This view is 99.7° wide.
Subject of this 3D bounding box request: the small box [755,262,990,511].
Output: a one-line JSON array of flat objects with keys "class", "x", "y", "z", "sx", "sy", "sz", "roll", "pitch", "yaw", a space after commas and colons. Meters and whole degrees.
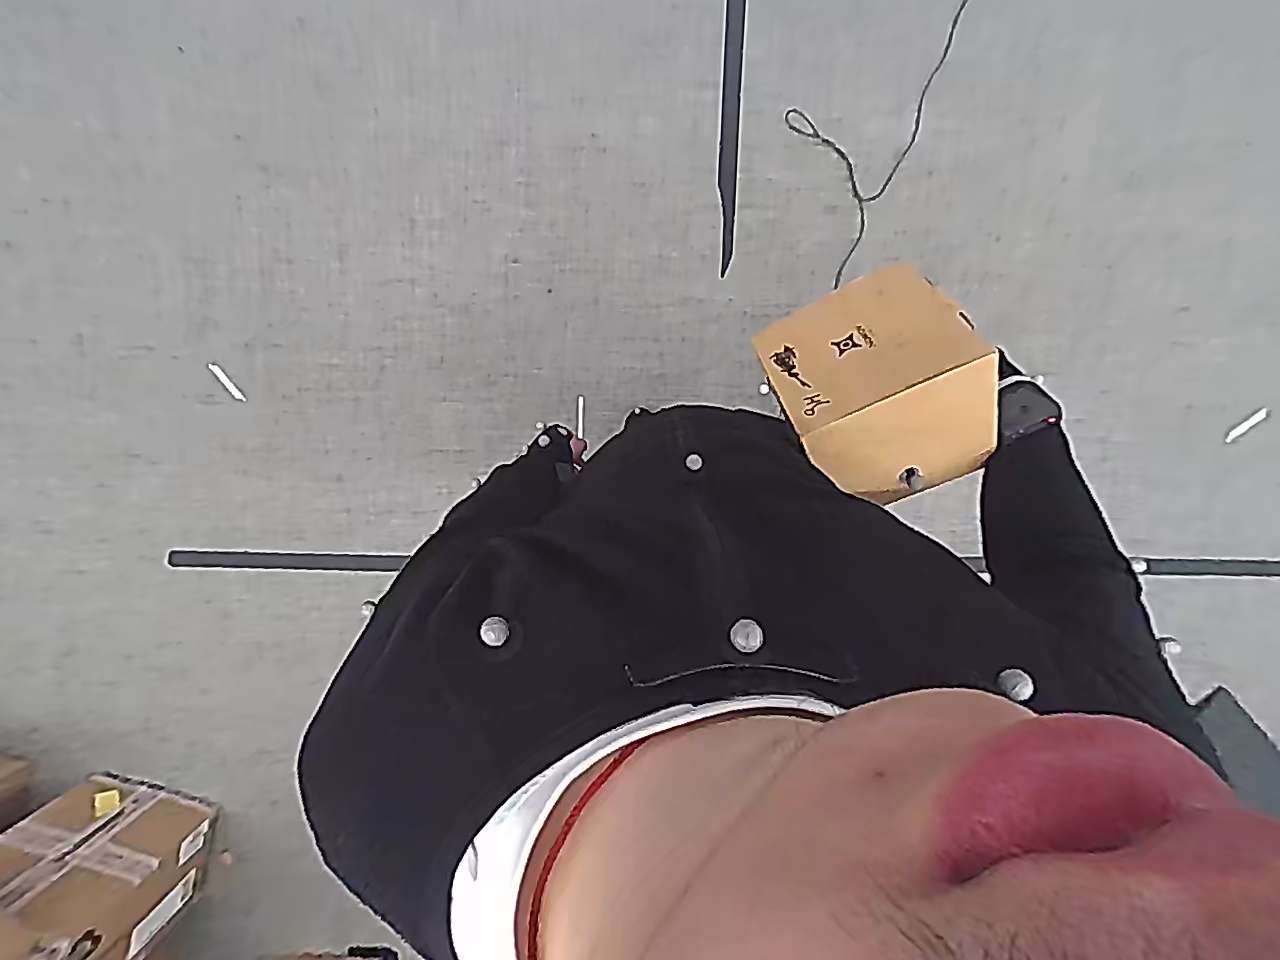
[{"class": "small box", "x": 0.251, "y": -0.095, "z": 0.598, "sx": 0.179, "sy": 0.168, "sz": 0.176, "roll": -24, "pitch": 136, "yaw": 14}]
